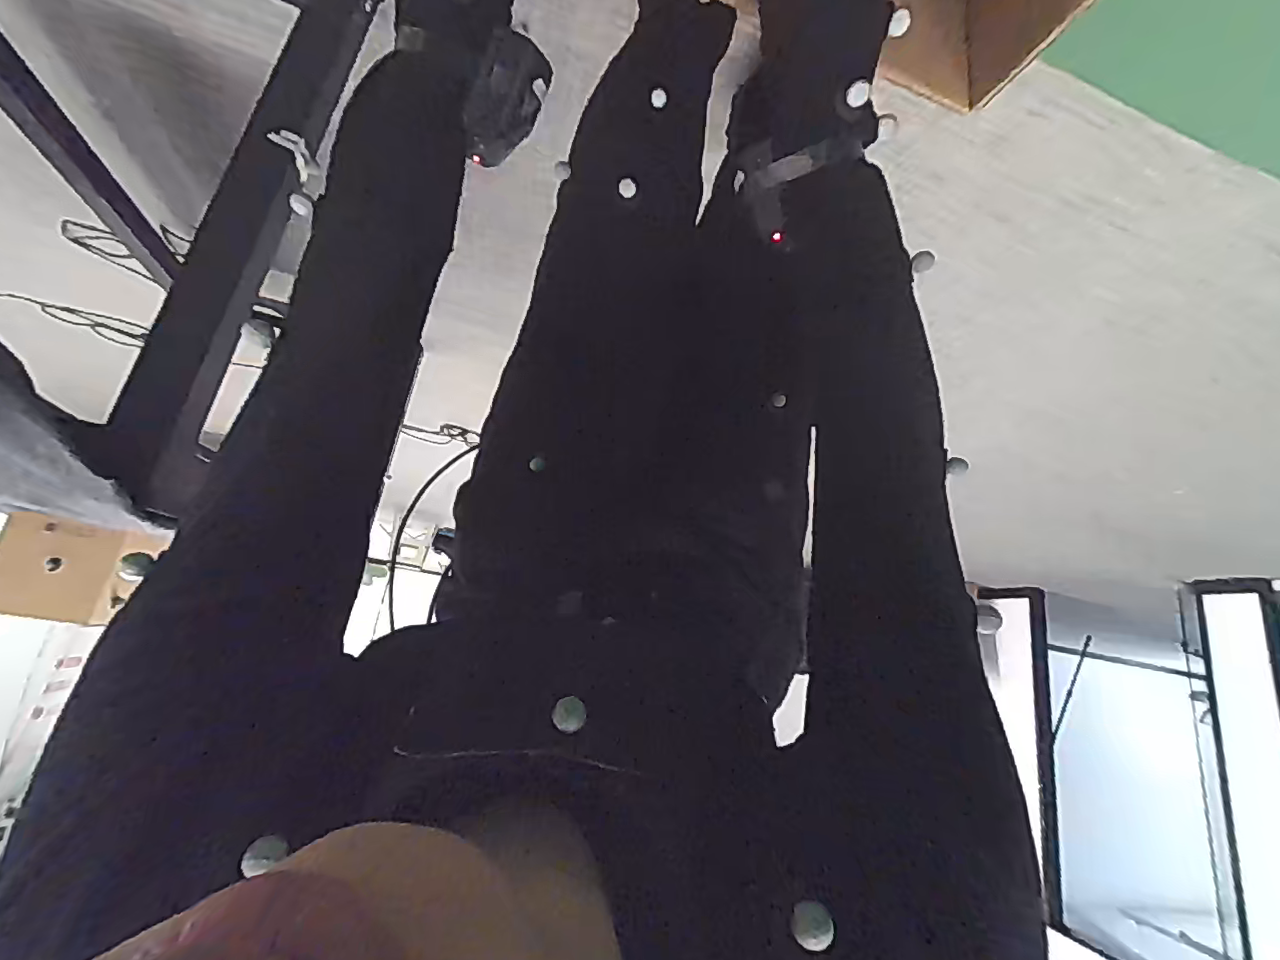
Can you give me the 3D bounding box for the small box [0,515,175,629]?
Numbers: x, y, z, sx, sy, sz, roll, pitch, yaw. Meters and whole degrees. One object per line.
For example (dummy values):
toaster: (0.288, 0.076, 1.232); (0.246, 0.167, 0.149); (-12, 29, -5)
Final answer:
small box: (-0.982, 0.165, 0.955); (0.168, 0.176, 0.179); (13, 163, -13)
